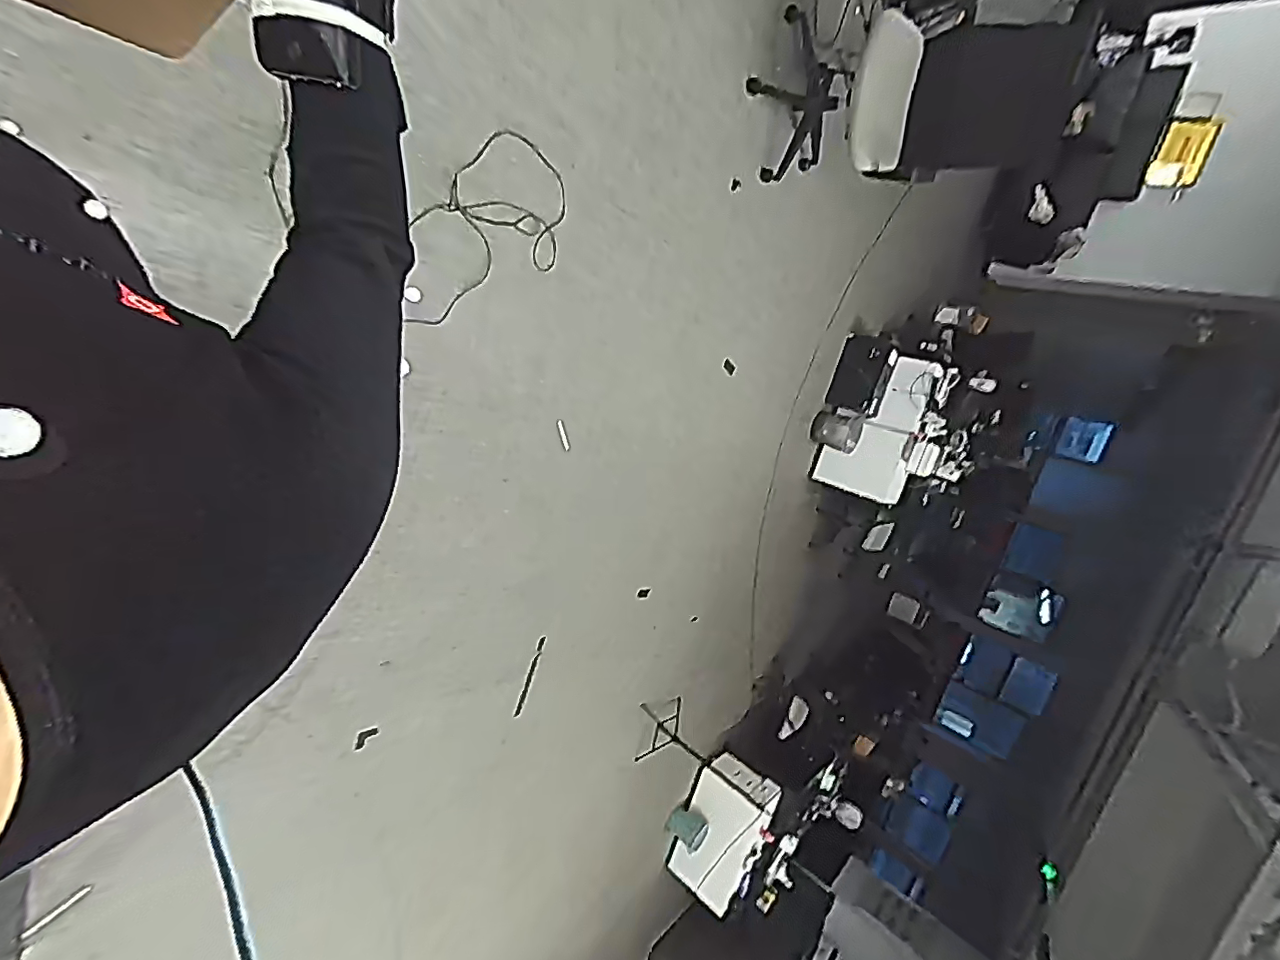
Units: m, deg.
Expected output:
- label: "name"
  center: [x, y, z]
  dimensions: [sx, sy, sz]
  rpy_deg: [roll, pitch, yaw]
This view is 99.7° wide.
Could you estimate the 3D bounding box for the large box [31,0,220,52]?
- label: "large box"
  center: [-0.432, -0.491, 0.233]
  dimensions: [0.408, 0.320, 0.320]
  rpy_deg: [-8, 109, -50]
